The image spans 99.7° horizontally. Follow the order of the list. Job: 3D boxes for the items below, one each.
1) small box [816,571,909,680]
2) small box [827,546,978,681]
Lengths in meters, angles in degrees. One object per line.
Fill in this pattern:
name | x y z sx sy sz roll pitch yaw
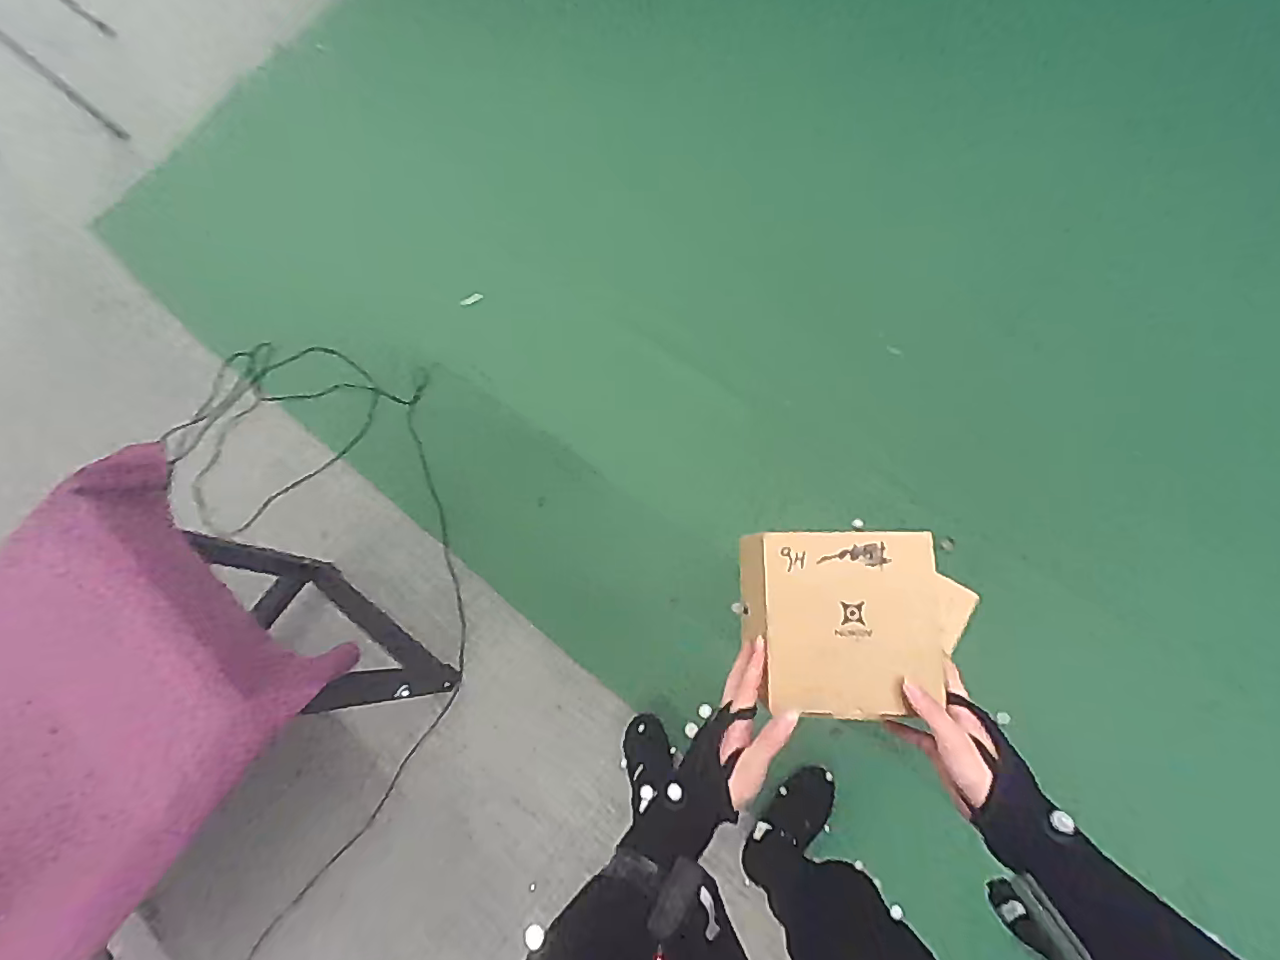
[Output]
small box | 0.499 0.298 1.145 0.179 0.176 0.168 33 81 18
small box | 0.467 0.247 0.993 0.179 0.176 0.168 31 80 17
